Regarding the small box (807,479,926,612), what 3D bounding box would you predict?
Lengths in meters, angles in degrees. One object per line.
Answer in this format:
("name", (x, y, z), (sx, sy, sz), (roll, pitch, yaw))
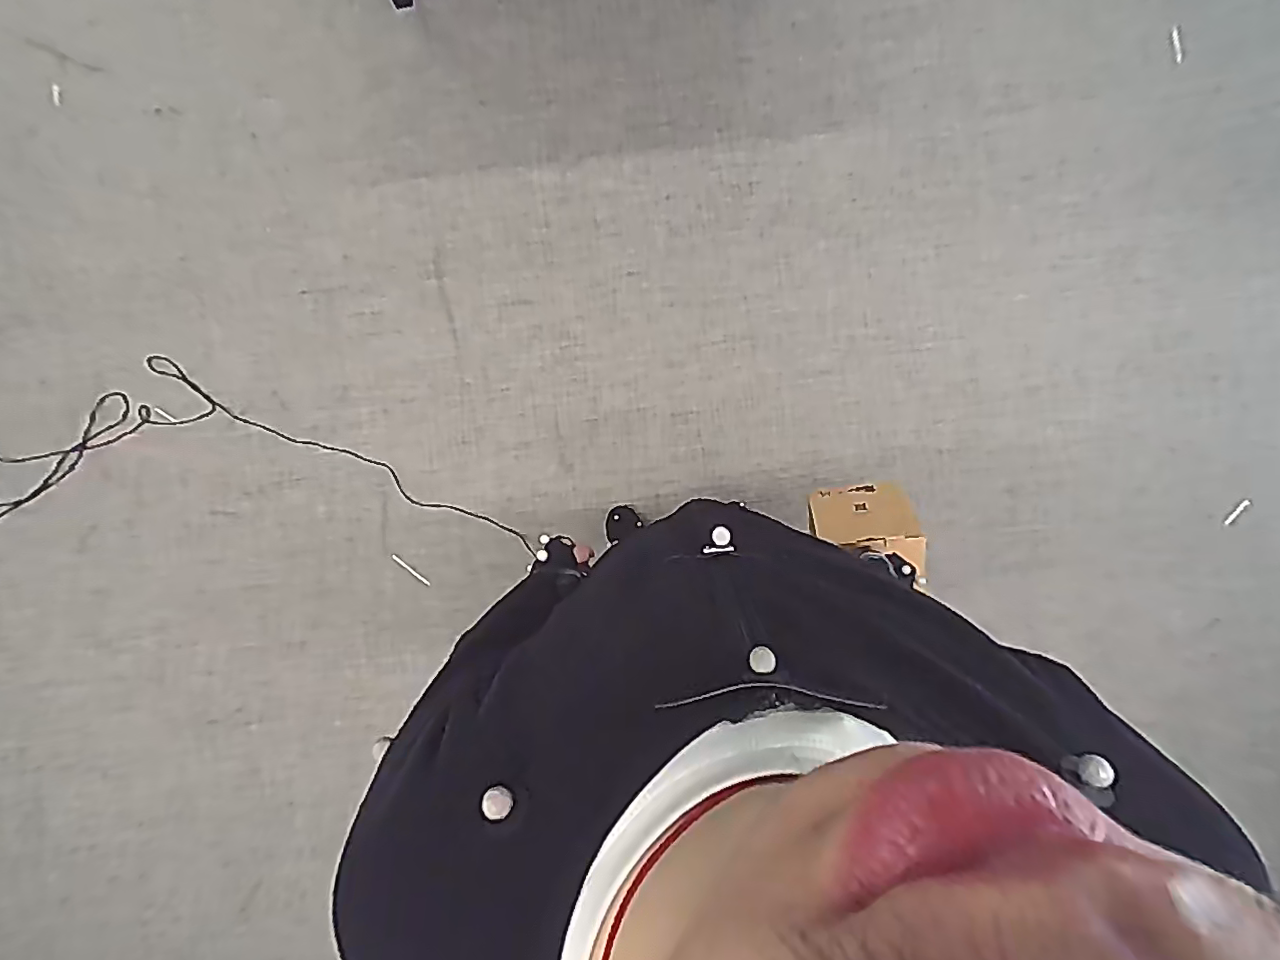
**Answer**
("small box", (0.406, 0.124, 0.979), (0.168, 0.179, 0.176), (-9, 119, 13))
